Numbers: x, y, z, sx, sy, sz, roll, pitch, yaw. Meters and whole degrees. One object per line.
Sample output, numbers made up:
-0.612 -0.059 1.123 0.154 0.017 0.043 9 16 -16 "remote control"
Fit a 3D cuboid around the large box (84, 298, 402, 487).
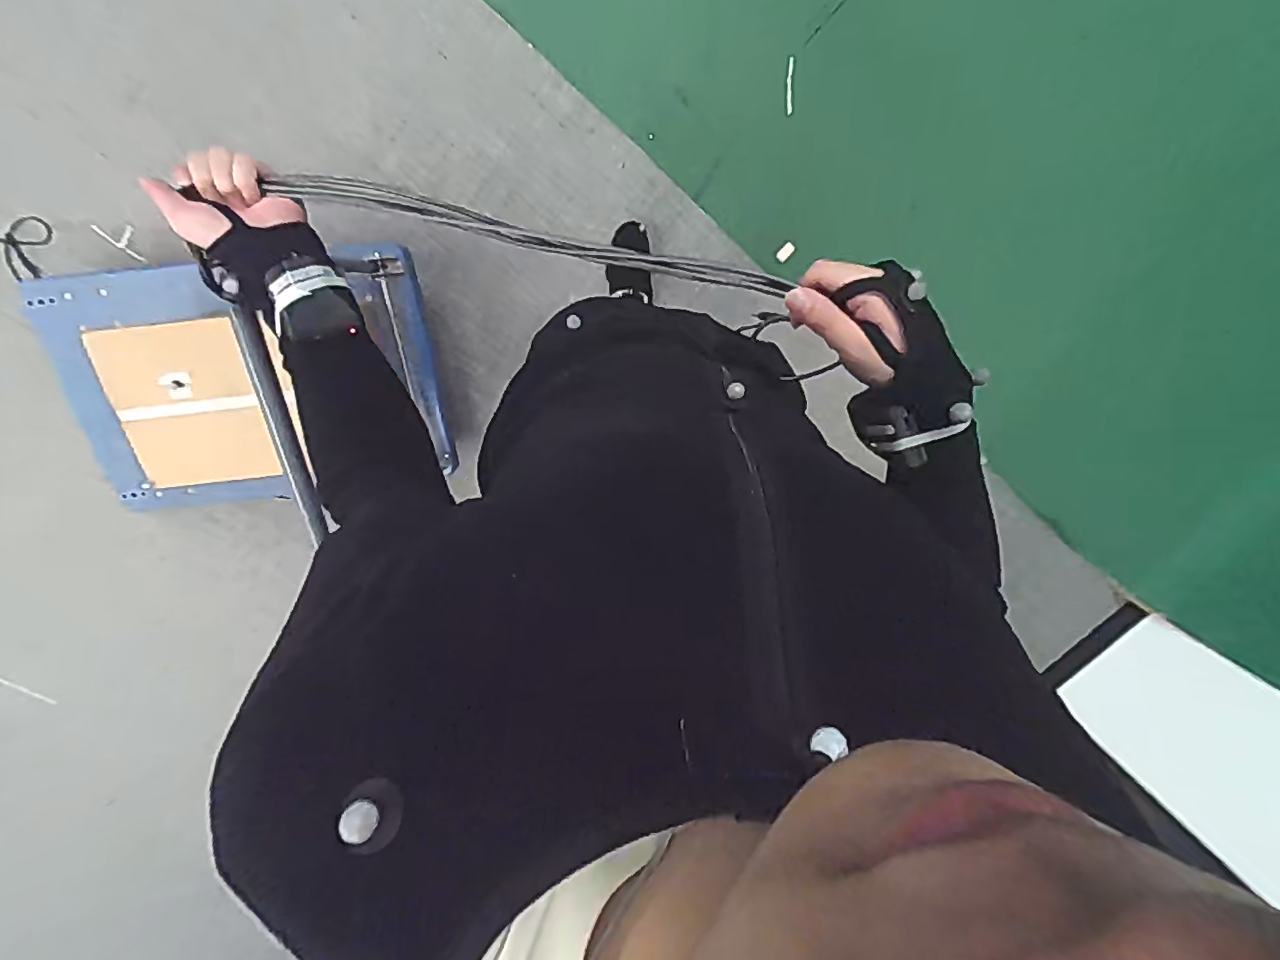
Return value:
-0.801 -0.205 1.170 0.408 0.320 0.320 -6 111 -1 "large box"
